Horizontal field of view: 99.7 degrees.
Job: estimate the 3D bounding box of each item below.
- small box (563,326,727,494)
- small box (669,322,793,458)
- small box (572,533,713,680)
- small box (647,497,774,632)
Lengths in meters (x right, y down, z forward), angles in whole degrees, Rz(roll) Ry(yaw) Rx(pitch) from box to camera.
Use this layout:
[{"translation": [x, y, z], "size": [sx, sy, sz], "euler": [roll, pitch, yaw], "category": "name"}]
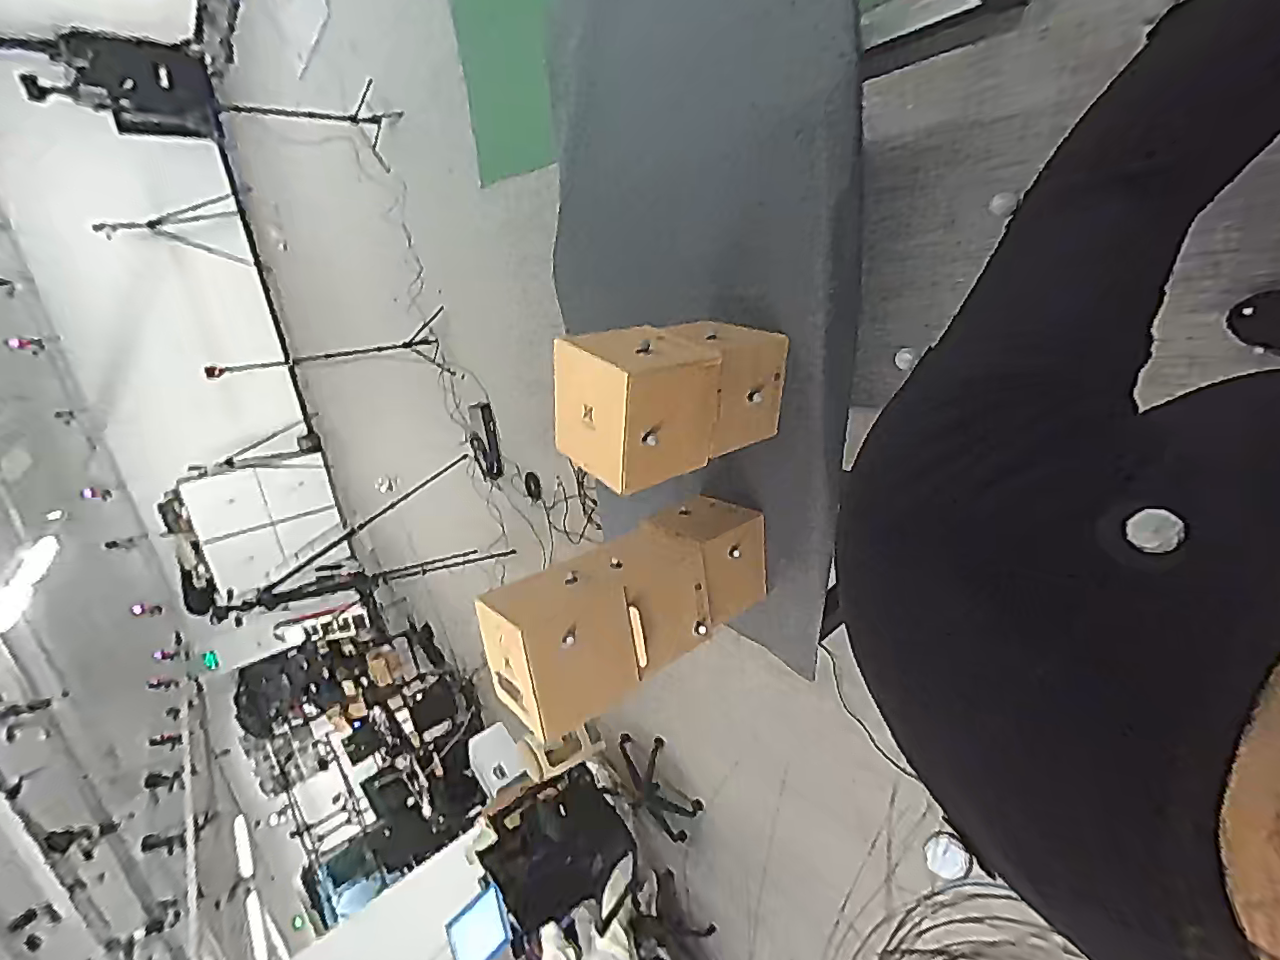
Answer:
[{"translation": [0.005, -0.111, 0.777], "size": [0.168, 0.176, 0.179], "euler": [34, 132, 40], "category": "small box"}, {"translation": [0.125, -0.157, 0.879], "size": [0.179, 0.176, 0.168], "euler": [27, 128, 43], "category": "small box"}, {"translation": [0.011, 0.202, 0.923], "size": [0.179, 0.176, 0.168], "euler": [11, 114, 52], "category": "small box"}, {"translation": [0.135, 0.146, 1.016], "size": [0.168, 0.176, 0.179], "euler": [16, 119, 50], "category": "small box"}]
